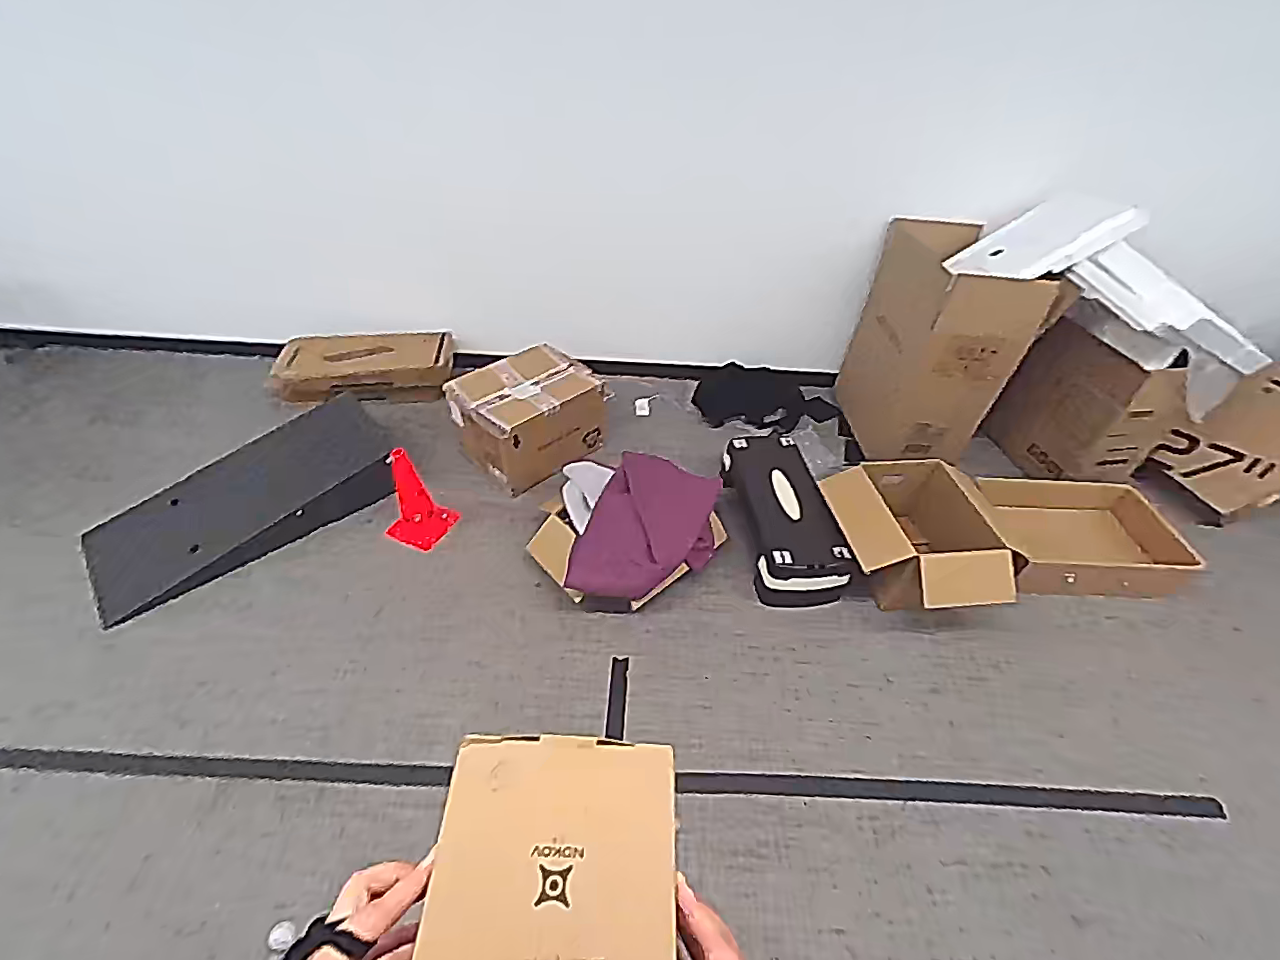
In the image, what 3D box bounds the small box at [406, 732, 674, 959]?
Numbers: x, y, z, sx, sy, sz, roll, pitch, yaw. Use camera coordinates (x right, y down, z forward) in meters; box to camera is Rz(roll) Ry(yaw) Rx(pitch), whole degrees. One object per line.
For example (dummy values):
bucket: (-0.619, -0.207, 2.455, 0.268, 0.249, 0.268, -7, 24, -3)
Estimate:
small box: (-0.066, 0.316, 0.418, 0.168, 0.176, 0.179, 4, 49, -2)
